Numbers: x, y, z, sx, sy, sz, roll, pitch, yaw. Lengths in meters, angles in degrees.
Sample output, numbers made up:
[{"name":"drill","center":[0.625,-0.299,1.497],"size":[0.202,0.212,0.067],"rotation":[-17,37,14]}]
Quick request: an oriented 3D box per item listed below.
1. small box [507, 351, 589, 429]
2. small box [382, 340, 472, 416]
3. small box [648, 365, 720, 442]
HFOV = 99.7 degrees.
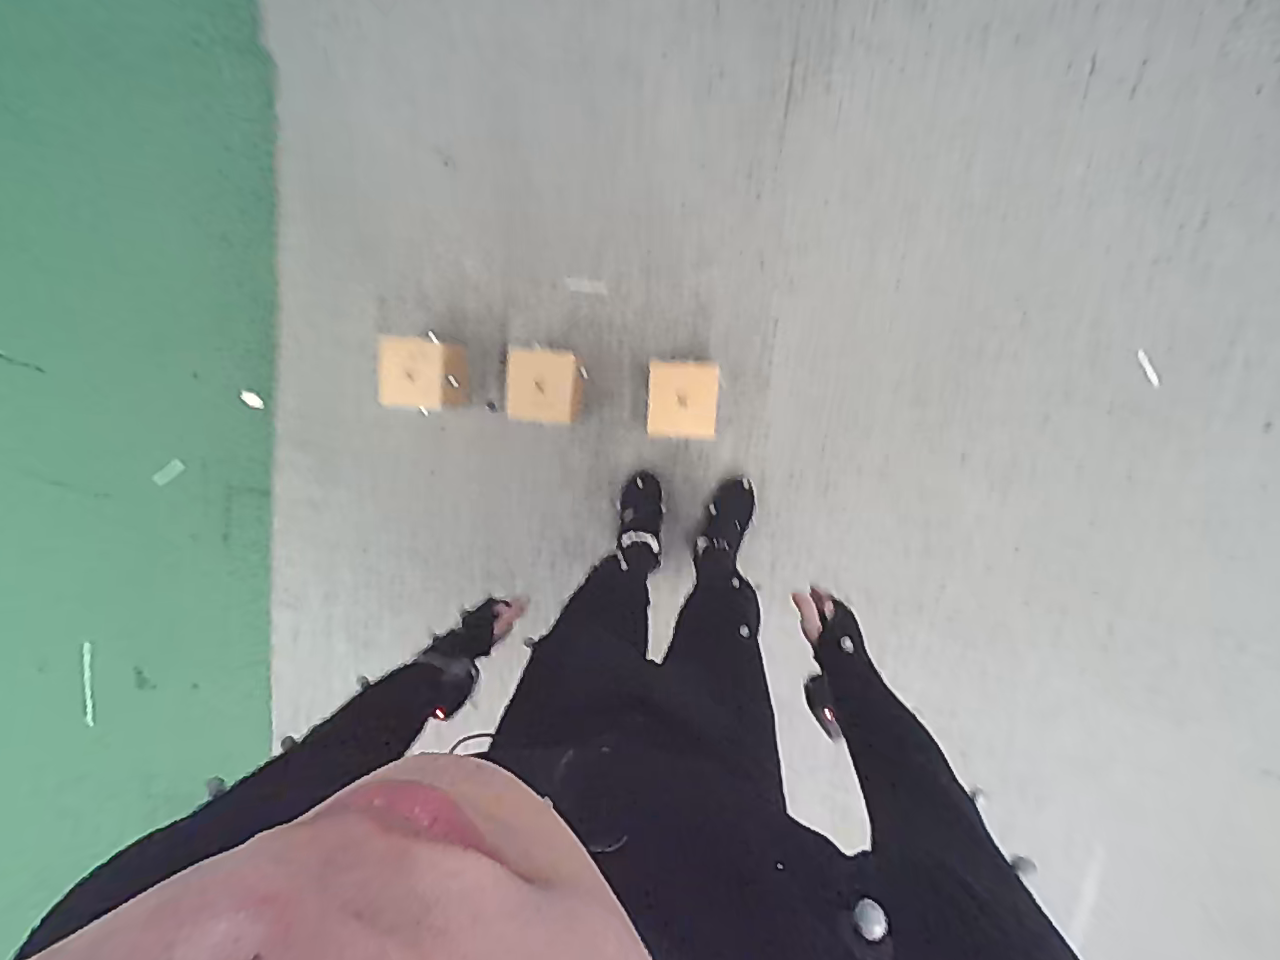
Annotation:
[{"name":"small box","center":[-0.232,-0.232,1.400],"size":[0.168,0.176,0.179],"rotation":[7,100,6]},{"name":"small box","center":[-0.556,-0.267,1.430],"size":[0.168,0.176,0.179],"rotation":[7,99,5]},{"name":"small box","center":[0.114,-0.193,1.367],"size":[0.168,0.176,0.179],"rotation":[4,98,6]}]
